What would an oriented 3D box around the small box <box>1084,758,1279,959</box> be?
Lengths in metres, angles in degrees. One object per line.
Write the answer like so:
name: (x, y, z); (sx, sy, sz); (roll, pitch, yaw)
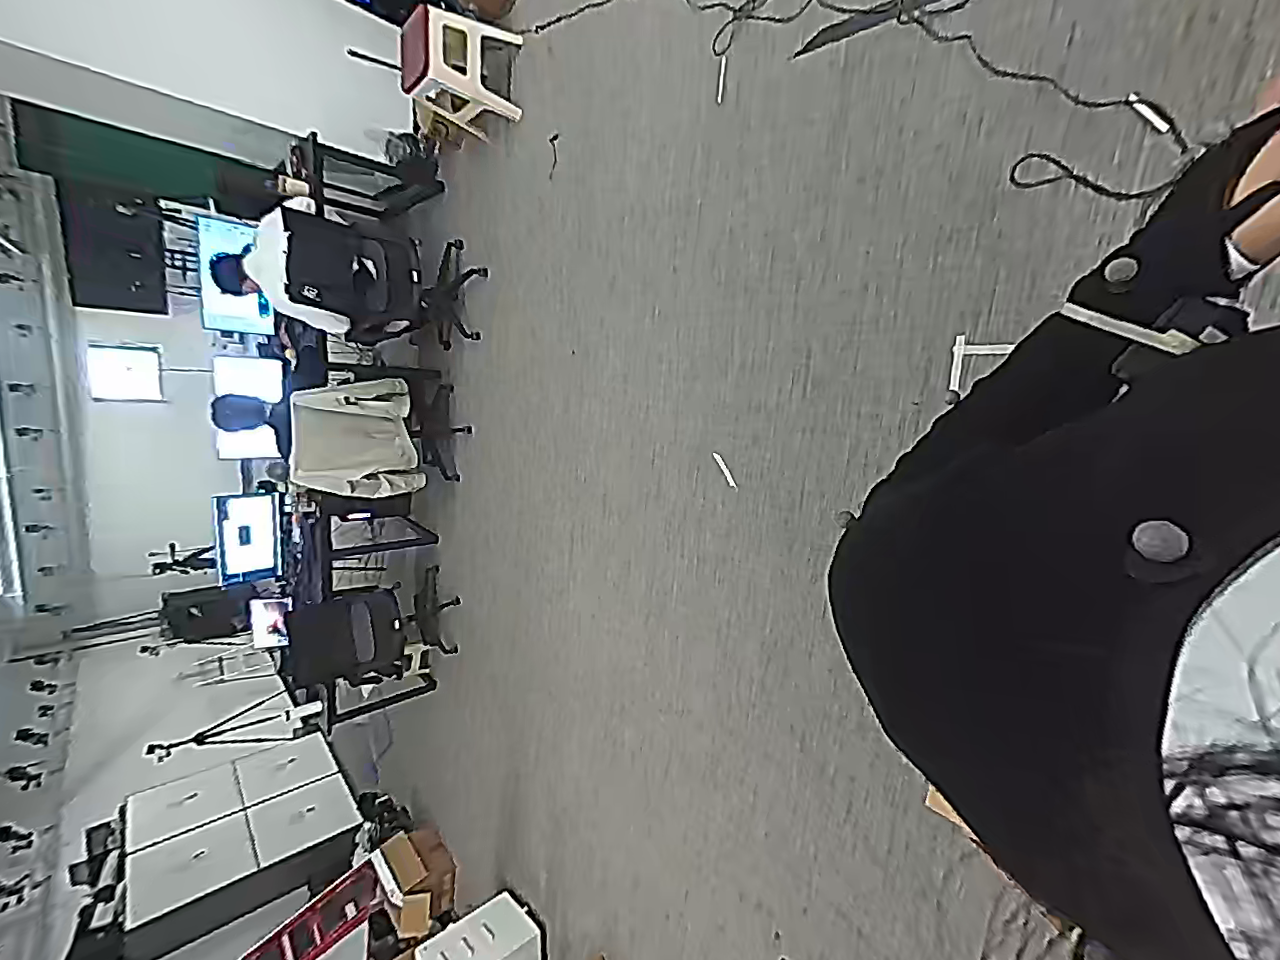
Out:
small box: (0.717, 0.511, 0.710); (0.168, 0.176, 0.179); (13, 100, 45)
